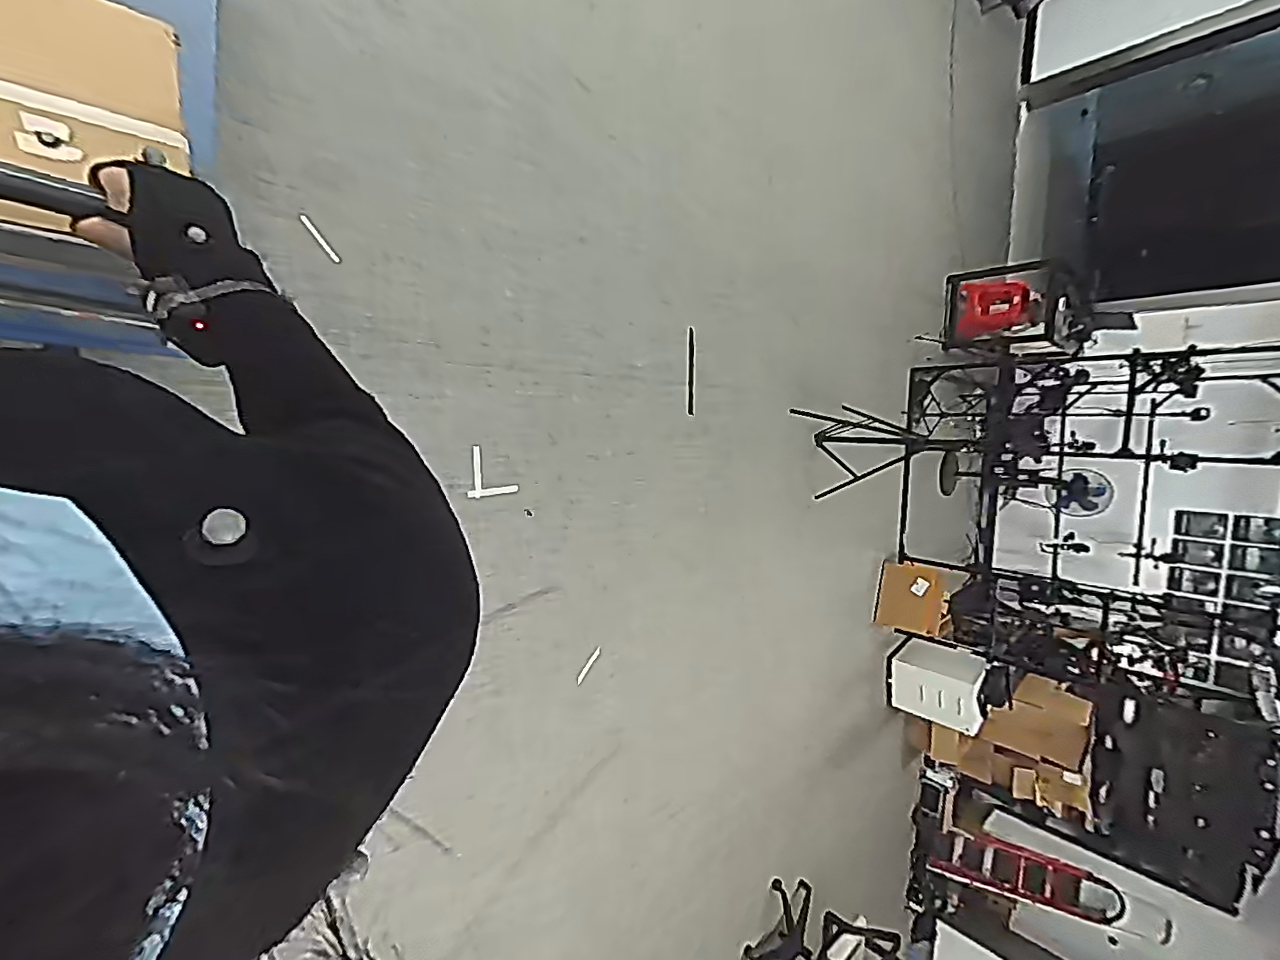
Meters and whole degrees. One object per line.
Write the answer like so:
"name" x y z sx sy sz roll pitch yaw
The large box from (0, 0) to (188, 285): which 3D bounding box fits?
"large box" -0.915 -0.487 0.748 0.408 0.320 0.320 -5 99 -46
